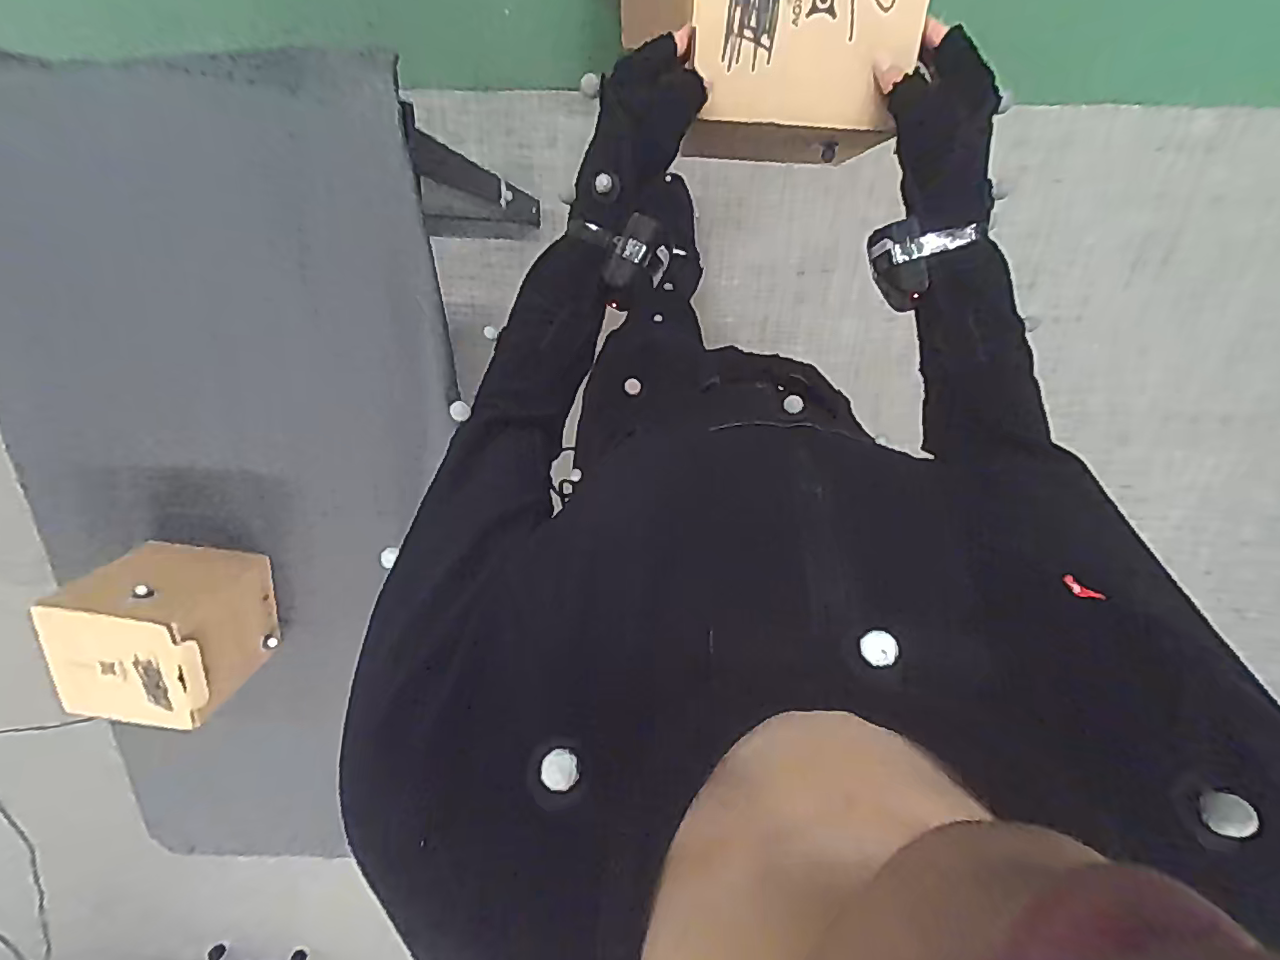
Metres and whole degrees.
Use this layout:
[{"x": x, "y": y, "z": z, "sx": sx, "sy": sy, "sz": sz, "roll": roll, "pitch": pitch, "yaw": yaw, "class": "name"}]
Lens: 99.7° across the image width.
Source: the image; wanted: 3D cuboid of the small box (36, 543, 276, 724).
[{"x": -0.636, "y": 0.201, "z": 0.743, "sx": 0.179, "sy": 0.176, "sz": 0.168, "roll": 7, "pitch": 111, "yaw": 1, "class": "small box"}]
